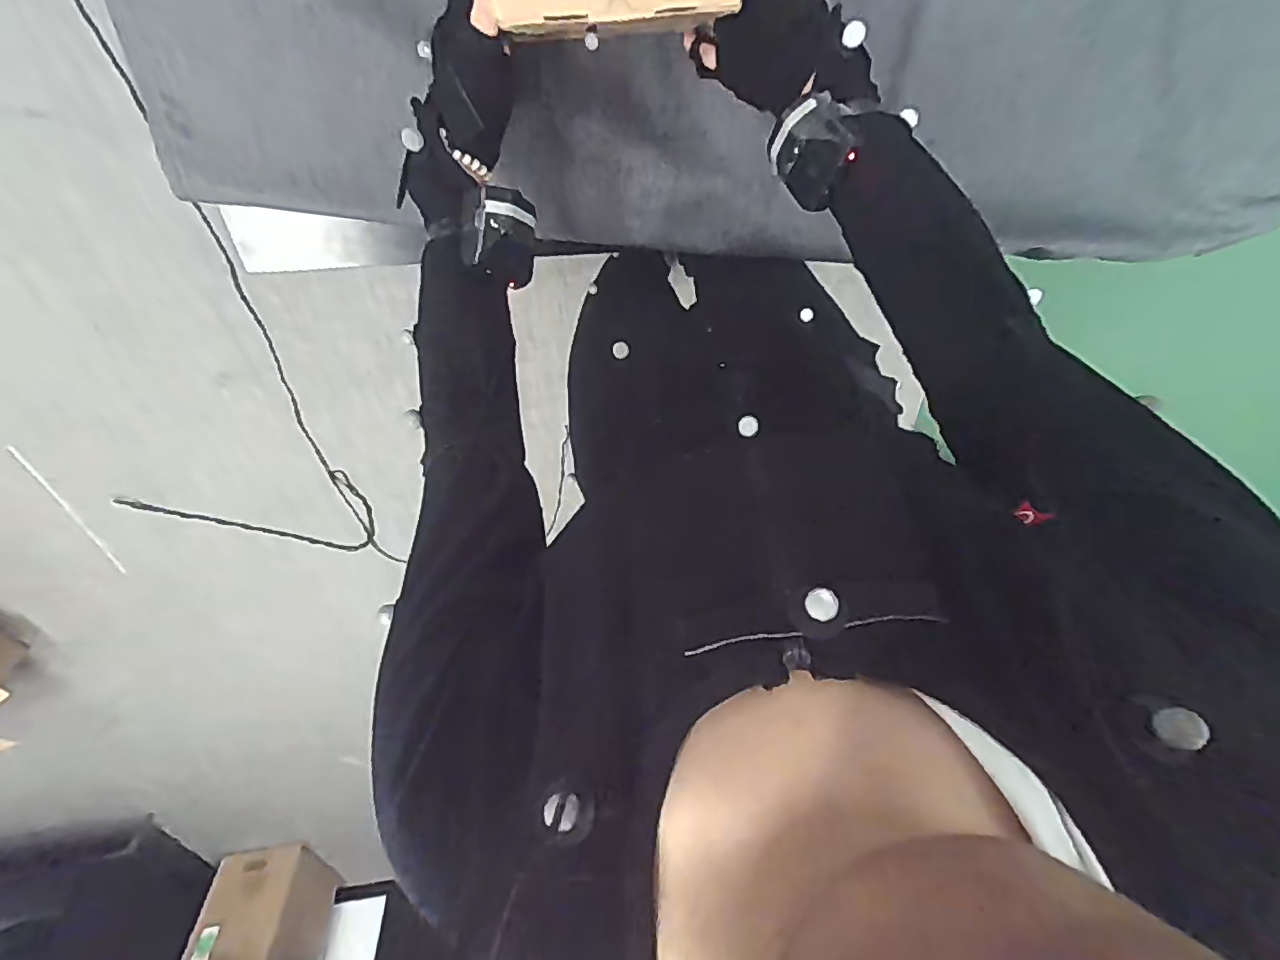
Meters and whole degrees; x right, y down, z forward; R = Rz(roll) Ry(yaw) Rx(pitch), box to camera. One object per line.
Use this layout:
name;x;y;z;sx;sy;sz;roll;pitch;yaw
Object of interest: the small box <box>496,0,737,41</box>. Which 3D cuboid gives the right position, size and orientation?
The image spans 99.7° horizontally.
small box;-0.029;-0.428;0.380;0.168;0.176;0.179;-7;129;-4
